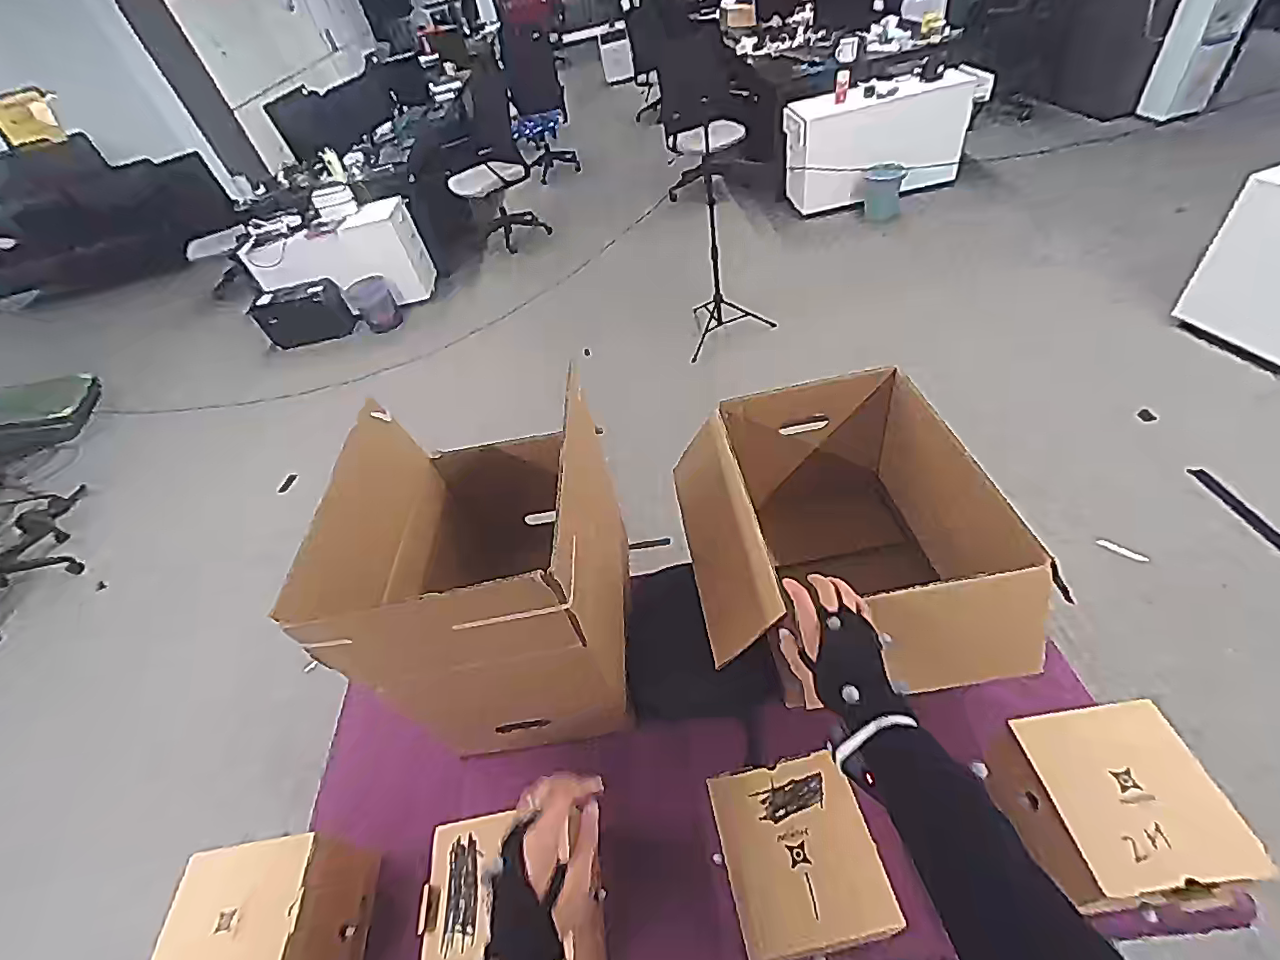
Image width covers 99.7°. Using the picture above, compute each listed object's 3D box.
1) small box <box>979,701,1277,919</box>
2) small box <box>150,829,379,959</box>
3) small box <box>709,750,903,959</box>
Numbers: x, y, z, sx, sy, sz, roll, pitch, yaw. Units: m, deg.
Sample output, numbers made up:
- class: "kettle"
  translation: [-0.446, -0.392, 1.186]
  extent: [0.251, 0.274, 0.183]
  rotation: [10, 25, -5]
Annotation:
- class: "small box"
  translation: [0.539, 0.390, 0.638]
  extent: [0.168, 0.176, 0.179]
  rotation: [-11, 45, 5]
- class: "small box"
  translation: [-0.484, 0.585, 0.712]
  extent: [0.179, 0.176, 0.168]
  rotation: [-11, 45, 2]
- class: "small box"
  translation: [0.187, 0.462, 0.660]
  extent: [0.168, 0.176, 0.179]
  rotation: [-14, 46, 1]
